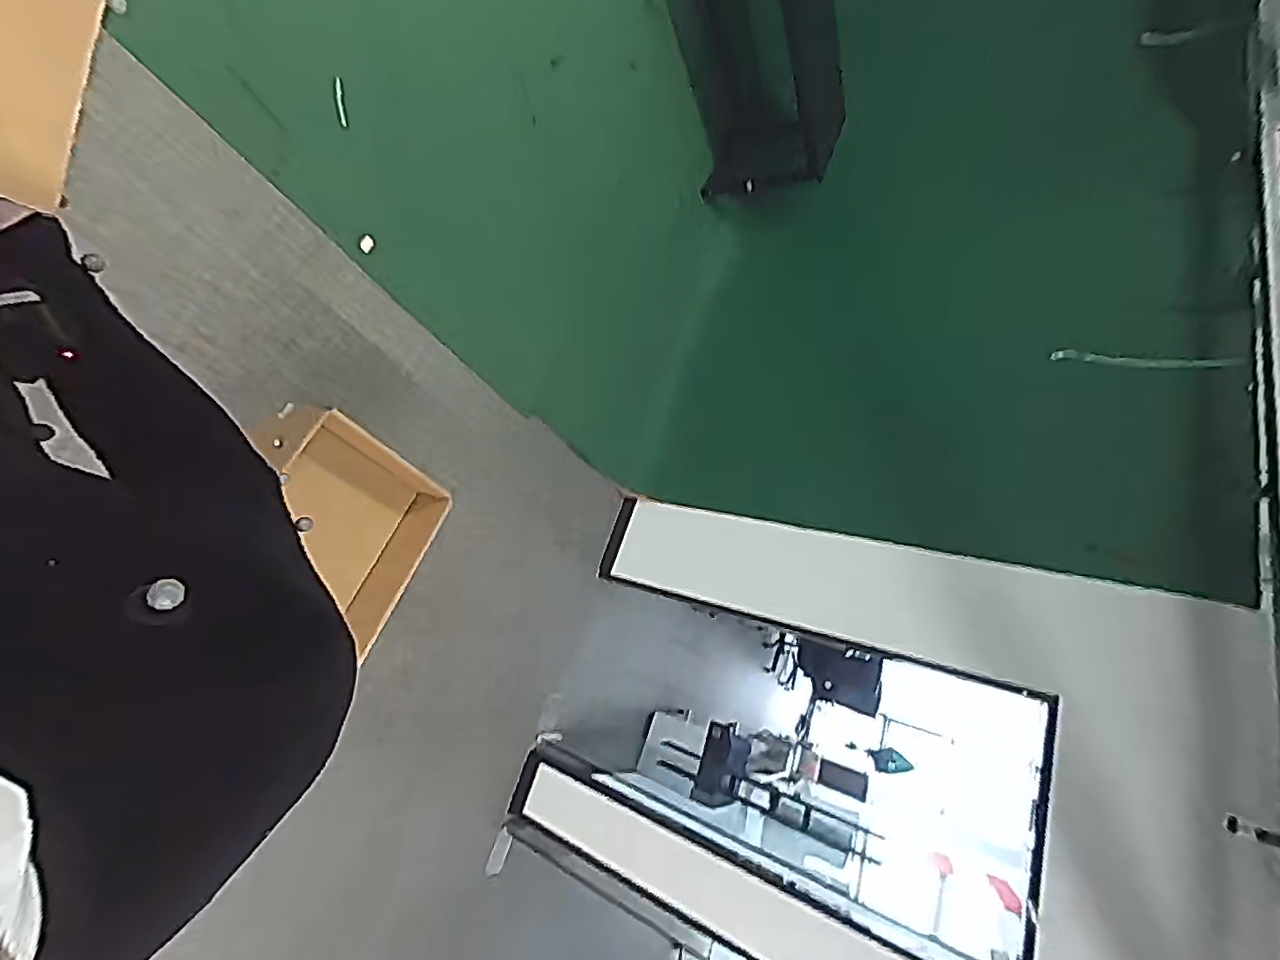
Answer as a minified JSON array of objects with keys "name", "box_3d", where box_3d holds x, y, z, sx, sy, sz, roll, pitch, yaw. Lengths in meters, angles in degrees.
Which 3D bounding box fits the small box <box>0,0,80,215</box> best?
[{"name":"small box","box_3d":[-0.420,-0.258,0.266,0.168,0.176,0.179,10,98,-60]}]
